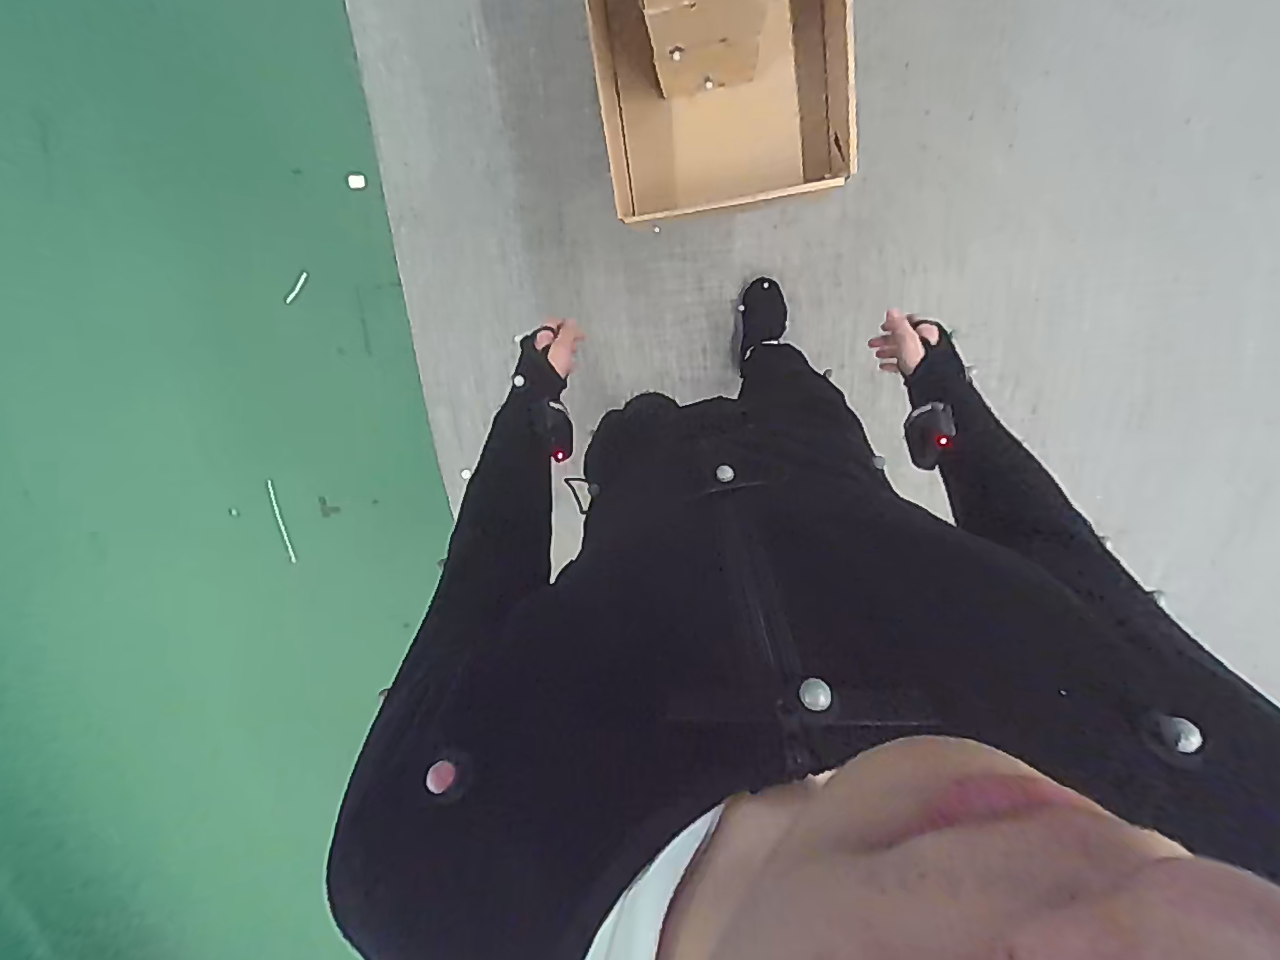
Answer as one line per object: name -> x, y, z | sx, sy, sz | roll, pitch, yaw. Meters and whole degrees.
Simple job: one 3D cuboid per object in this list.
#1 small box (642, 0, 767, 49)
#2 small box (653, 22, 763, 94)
small box -> 0.080, -0.709, 0.709 | 0.168, 0.176, 0.179 | -7, 106, 10
small box -> 0.102, -0.760, 0.863 | 0.168, 0.176, 0.179 | -5, 108, 10
